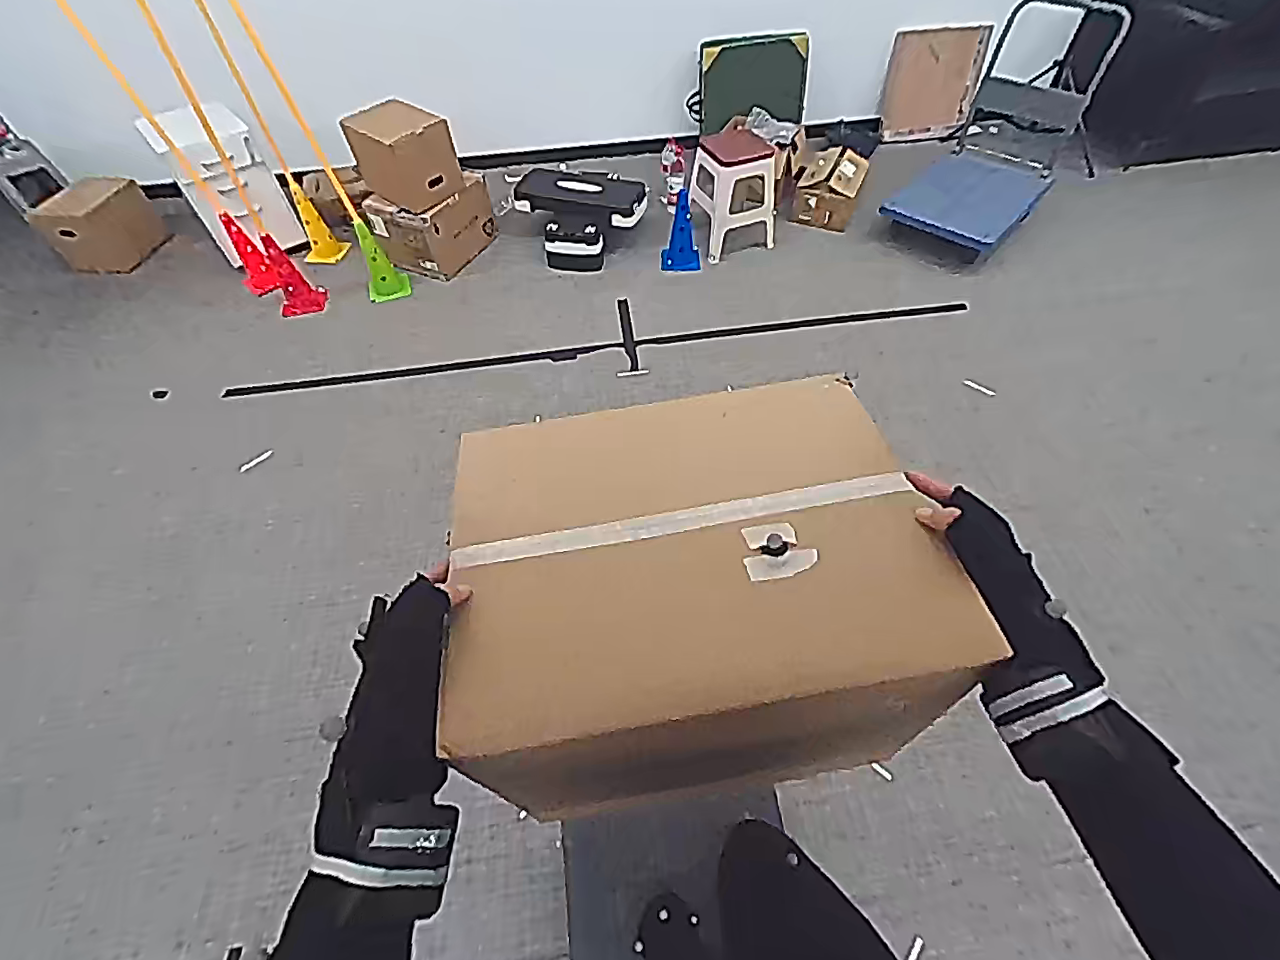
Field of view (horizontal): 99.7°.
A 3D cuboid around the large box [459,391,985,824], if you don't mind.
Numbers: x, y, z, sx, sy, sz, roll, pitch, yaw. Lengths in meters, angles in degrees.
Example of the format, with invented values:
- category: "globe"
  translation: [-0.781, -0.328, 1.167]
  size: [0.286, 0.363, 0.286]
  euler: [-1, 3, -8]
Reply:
- category: "large box"
  translation: [0.051, 0.145, 0.600]
  size: [0.408, 0.320, 0.320]
  euler: [-9, 50, -2]
